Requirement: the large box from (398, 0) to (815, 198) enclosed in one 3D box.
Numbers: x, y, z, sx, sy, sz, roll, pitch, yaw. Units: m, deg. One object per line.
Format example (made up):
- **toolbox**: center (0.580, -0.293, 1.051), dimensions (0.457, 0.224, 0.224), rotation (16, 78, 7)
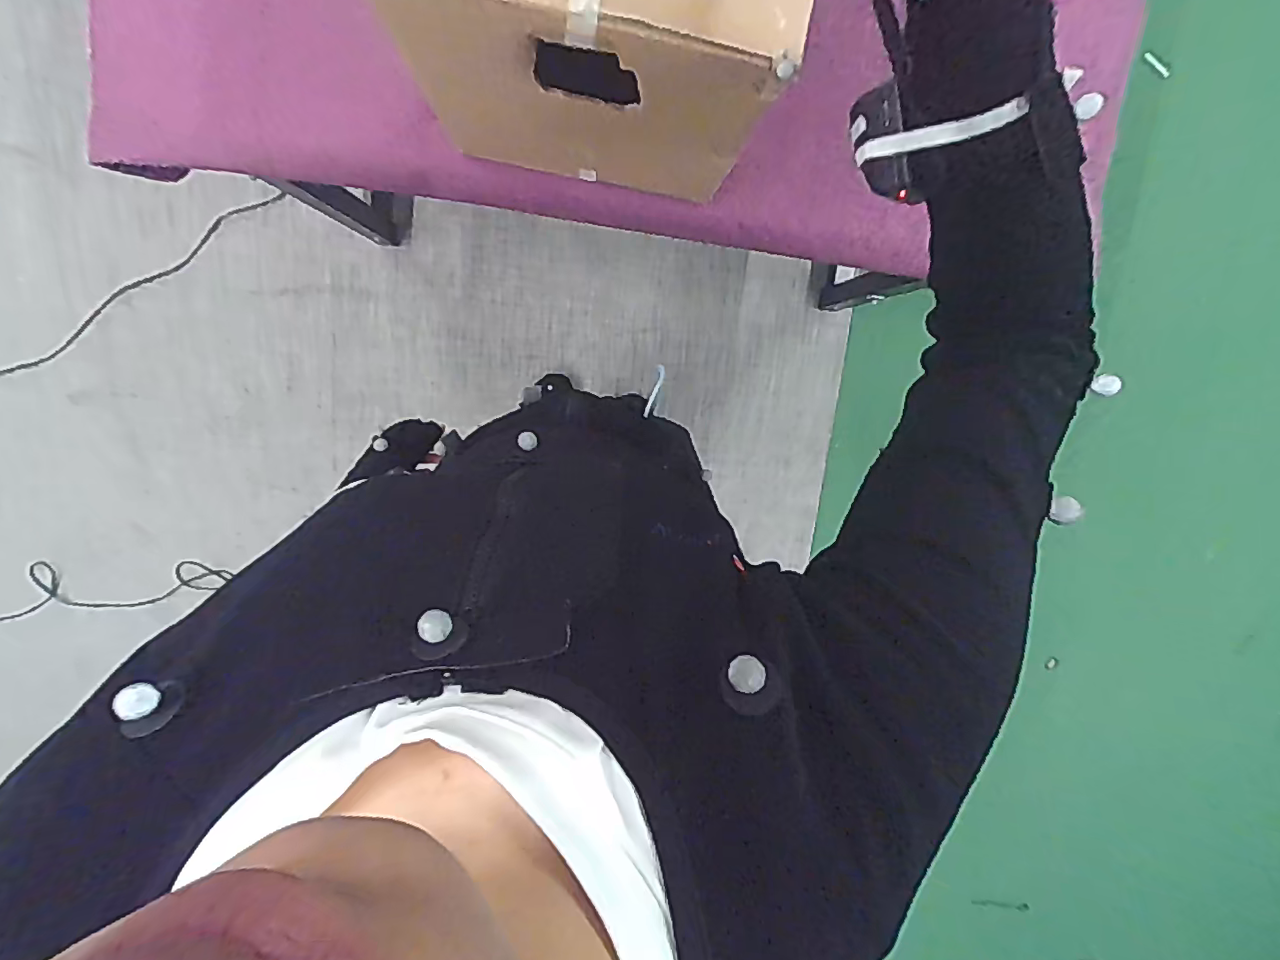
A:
- **large box**: center (-0.012, -0.544, 0.499), dimensions (0.320, 0.320, 0.408), rotation (9, 101, -6)
